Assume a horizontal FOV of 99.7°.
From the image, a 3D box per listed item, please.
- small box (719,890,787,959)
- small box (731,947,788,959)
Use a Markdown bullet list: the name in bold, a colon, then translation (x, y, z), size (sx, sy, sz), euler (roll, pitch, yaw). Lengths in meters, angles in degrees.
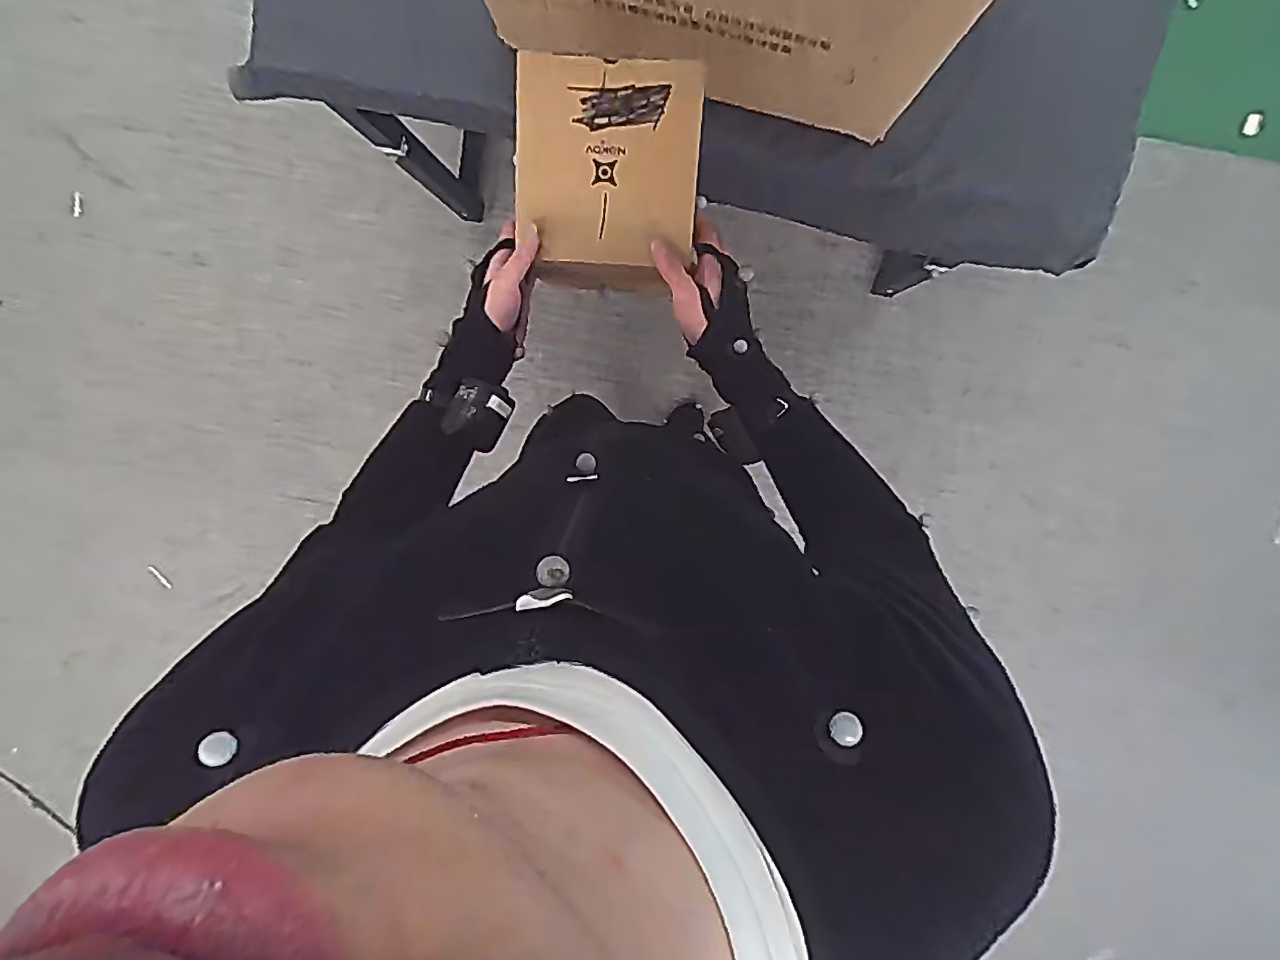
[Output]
- **small box**: translation (0.358, 1.476, 1.747), size (0.168, 0.176, 0.179), euler (9, 101, -2)
- **small box**: translation (0.348, 1.512, 1.569), size (0.179, 0.176, 0.168), euler (11, 102, -2)
